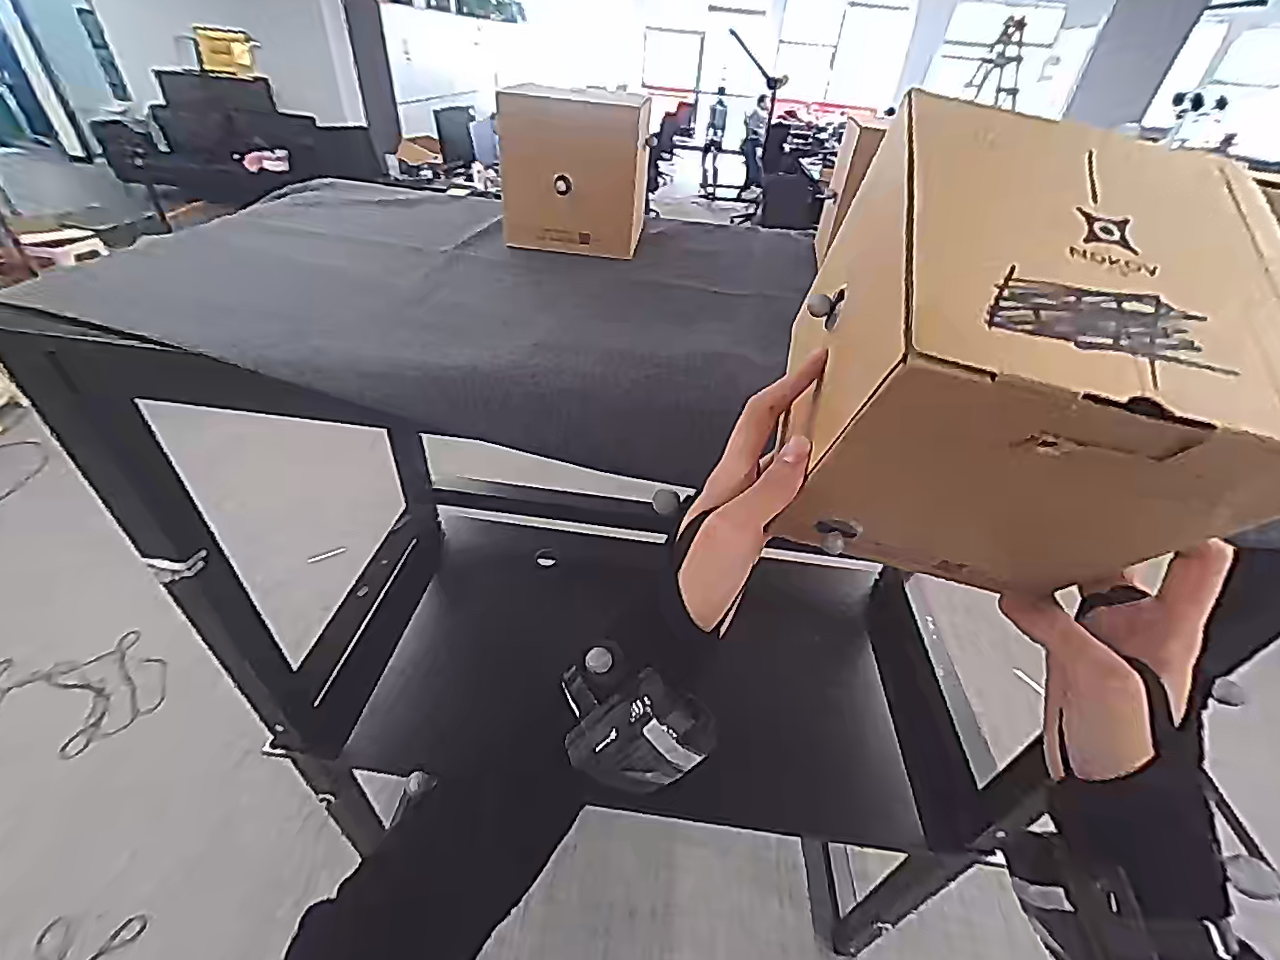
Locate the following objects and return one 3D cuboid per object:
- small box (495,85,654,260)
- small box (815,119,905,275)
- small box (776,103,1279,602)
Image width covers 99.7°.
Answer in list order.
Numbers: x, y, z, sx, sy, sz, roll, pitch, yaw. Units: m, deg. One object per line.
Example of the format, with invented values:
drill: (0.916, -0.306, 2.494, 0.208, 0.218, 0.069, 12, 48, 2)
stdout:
small box: (-0.076, -0.401, 0.707, 0.168, 0.176, 0.179, 7, 39, 1)
small box: (0.334, -0.354, 0.701, 0.168, 0.176, 0.179, 11, 38, 6)
small box: (0.182, -0.051, 0.289, 0.168, 0.176, 0.179, 15, 62, 2)
